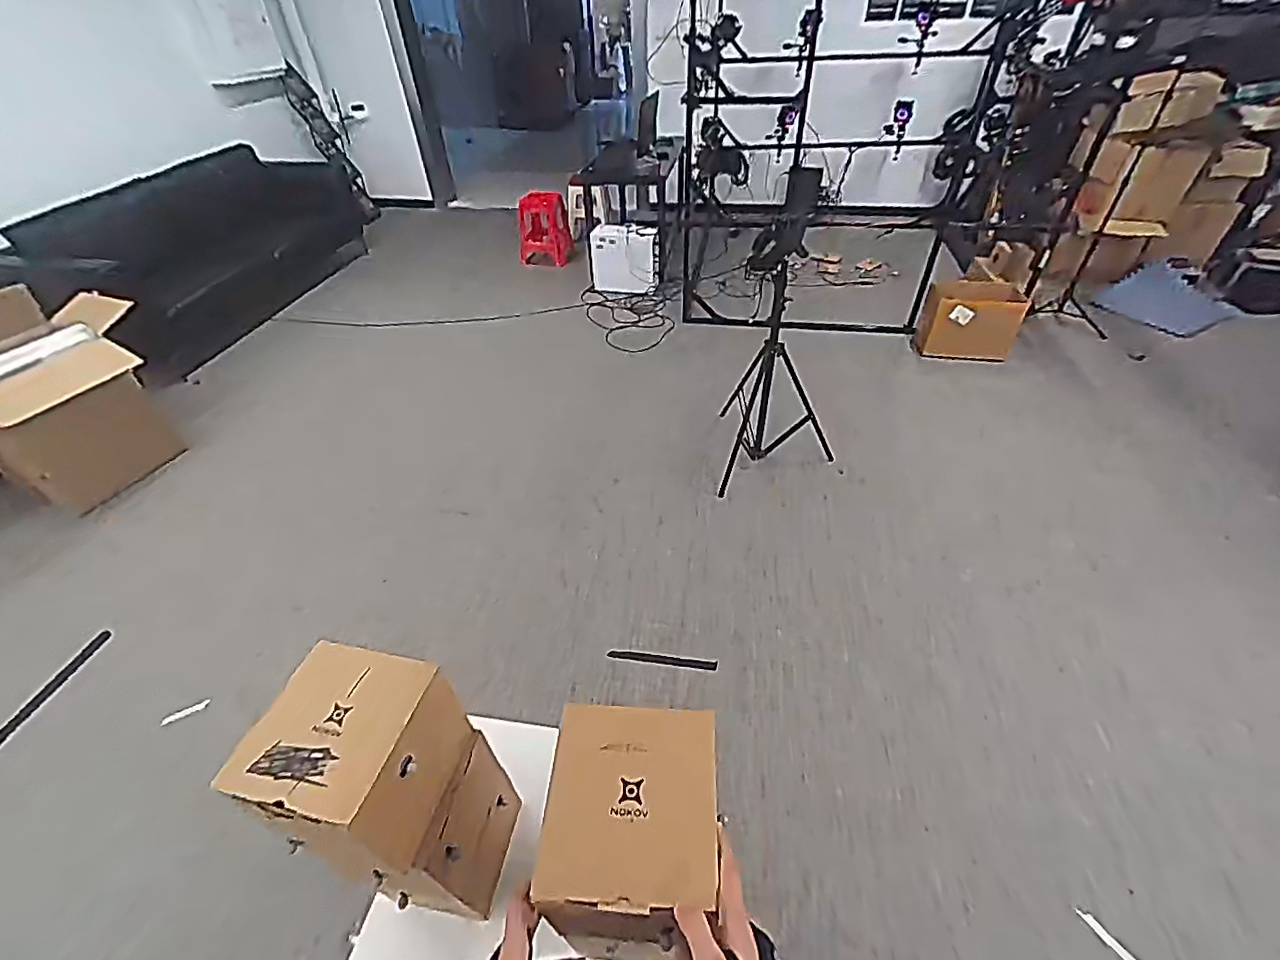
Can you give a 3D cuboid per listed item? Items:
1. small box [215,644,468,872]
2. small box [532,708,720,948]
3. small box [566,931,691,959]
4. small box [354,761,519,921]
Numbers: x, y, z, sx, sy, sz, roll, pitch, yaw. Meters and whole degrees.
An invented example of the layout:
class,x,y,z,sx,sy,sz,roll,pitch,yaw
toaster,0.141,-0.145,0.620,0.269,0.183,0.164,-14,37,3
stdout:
class,x,y,z,sx,sy,sz,roll,pitch,yaw
small box,-0.325,0.326,0.636,0.168,0.176,0.179,7,42,11
small box,-0.003,0.367,0.571,0.168,0.176,0.179,1,42,4
small box,-0.003,0.600,0.804,0.168,0.176,0.179,2,42,8
small box,-0.304,0.568,0.859,0.168,0.176,0.179,5,42,8
